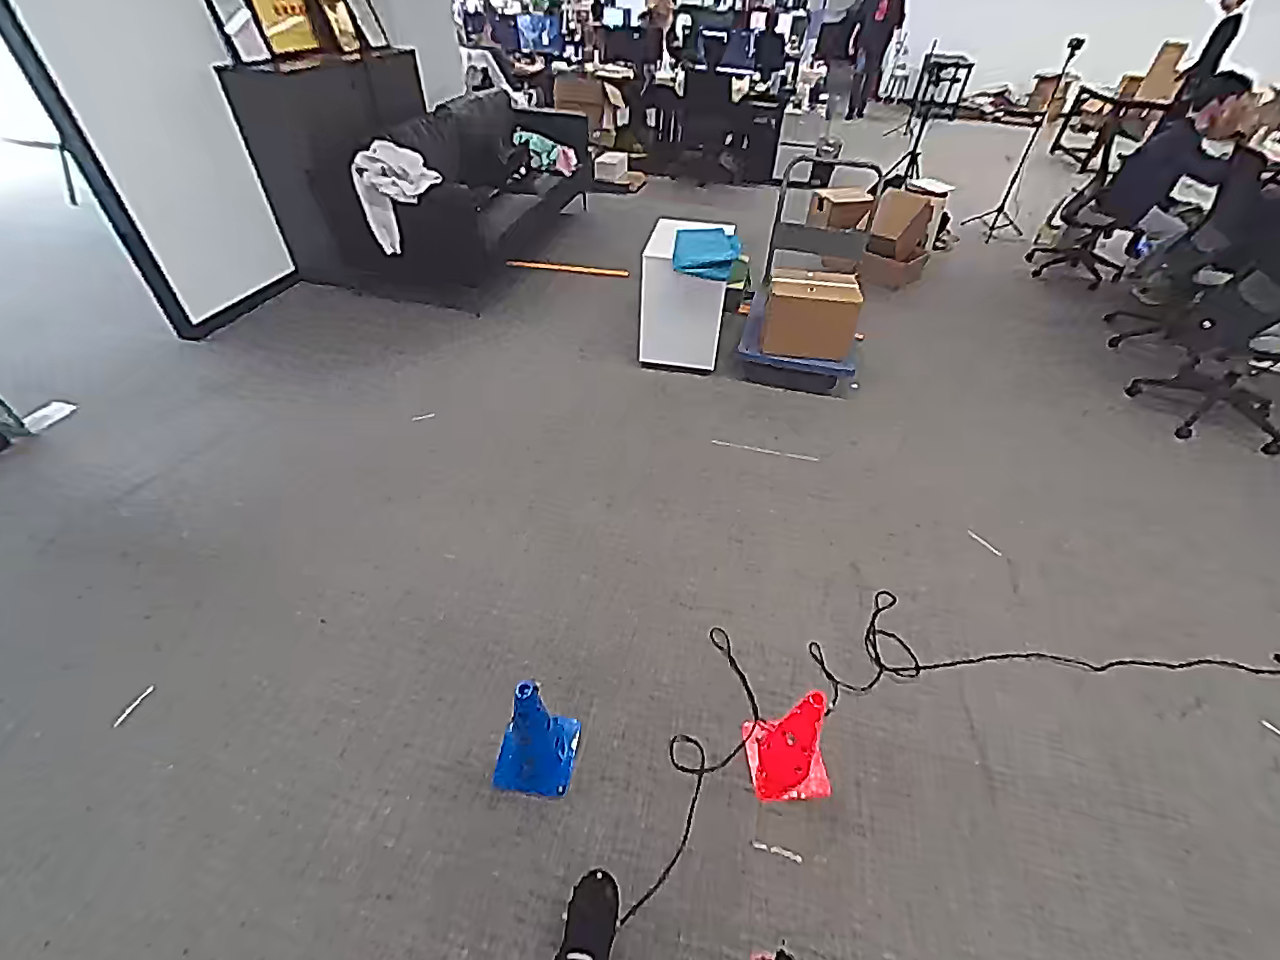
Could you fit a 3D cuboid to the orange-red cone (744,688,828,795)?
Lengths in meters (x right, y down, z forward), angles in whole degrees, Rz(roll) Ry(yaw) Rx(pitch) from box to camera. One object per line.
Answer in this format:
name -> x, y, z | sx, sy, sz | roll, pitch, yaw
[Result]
orange-red cone -> 0.392, 0.610, 1.332 | 0.198, 0.360, 0.199 | -2, 45, -3
